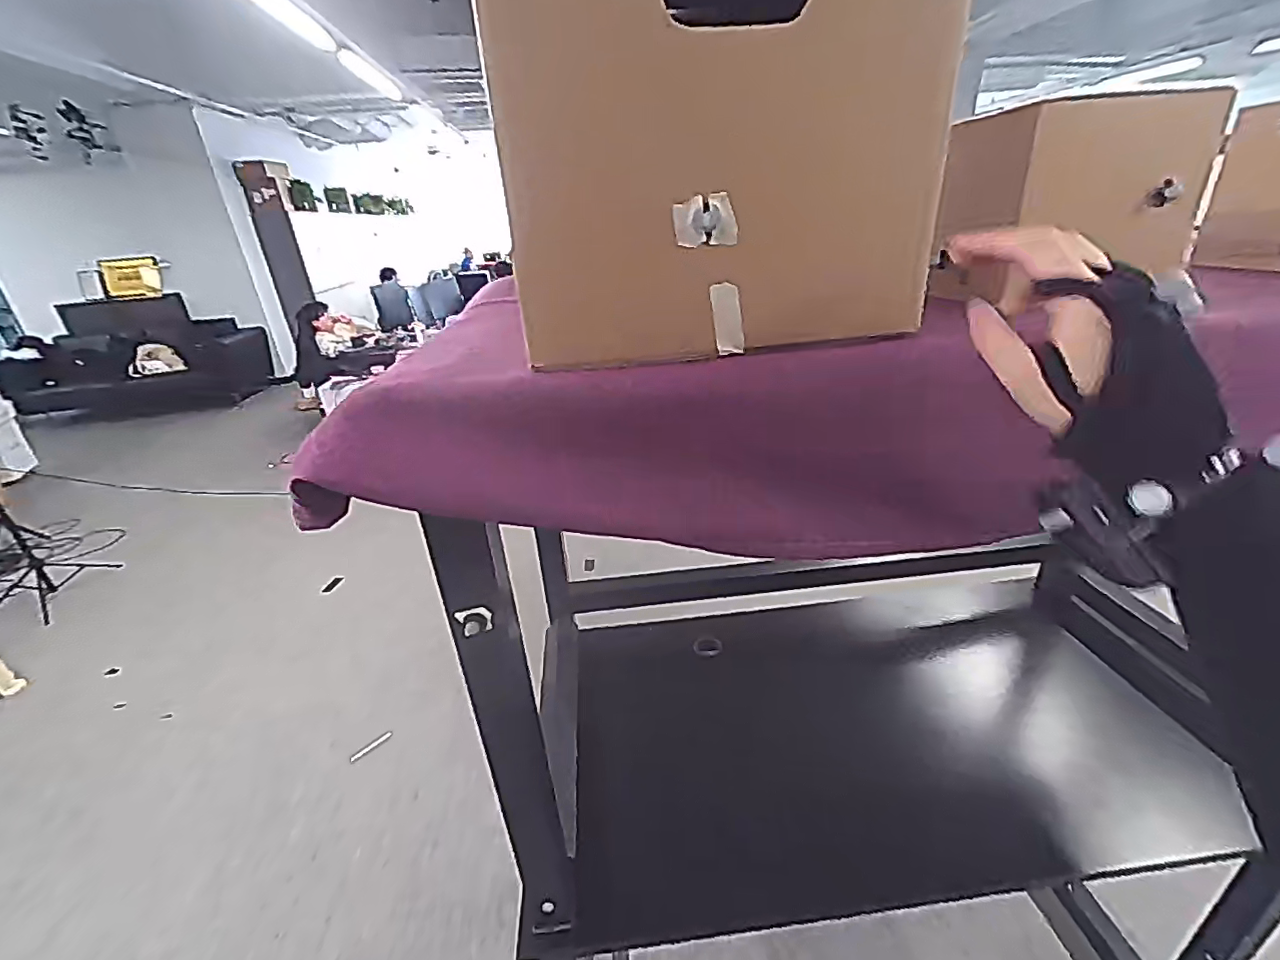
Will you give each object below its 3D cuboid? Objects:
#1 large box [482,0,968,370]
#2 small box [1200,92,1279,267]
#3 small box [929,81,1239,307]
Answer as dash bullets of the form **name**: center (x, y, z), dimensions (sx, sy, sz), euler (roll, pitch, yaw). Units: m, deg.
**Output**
- **large box**: center (0.035, -0.312, 0.522), dimensions (0.320, 0.320, 0.408), euler (-6, 25, -6)
- **small box**: center (0.758, -0.315, 0.558), dimensions (0.179, 0.176, 0.168), euler (-5, 25, -1)
- **small box**: center (0.405, -0.276, 0.542), dimensions (0.179, 0.176, 0.168), euler (-6, 25, -3)
